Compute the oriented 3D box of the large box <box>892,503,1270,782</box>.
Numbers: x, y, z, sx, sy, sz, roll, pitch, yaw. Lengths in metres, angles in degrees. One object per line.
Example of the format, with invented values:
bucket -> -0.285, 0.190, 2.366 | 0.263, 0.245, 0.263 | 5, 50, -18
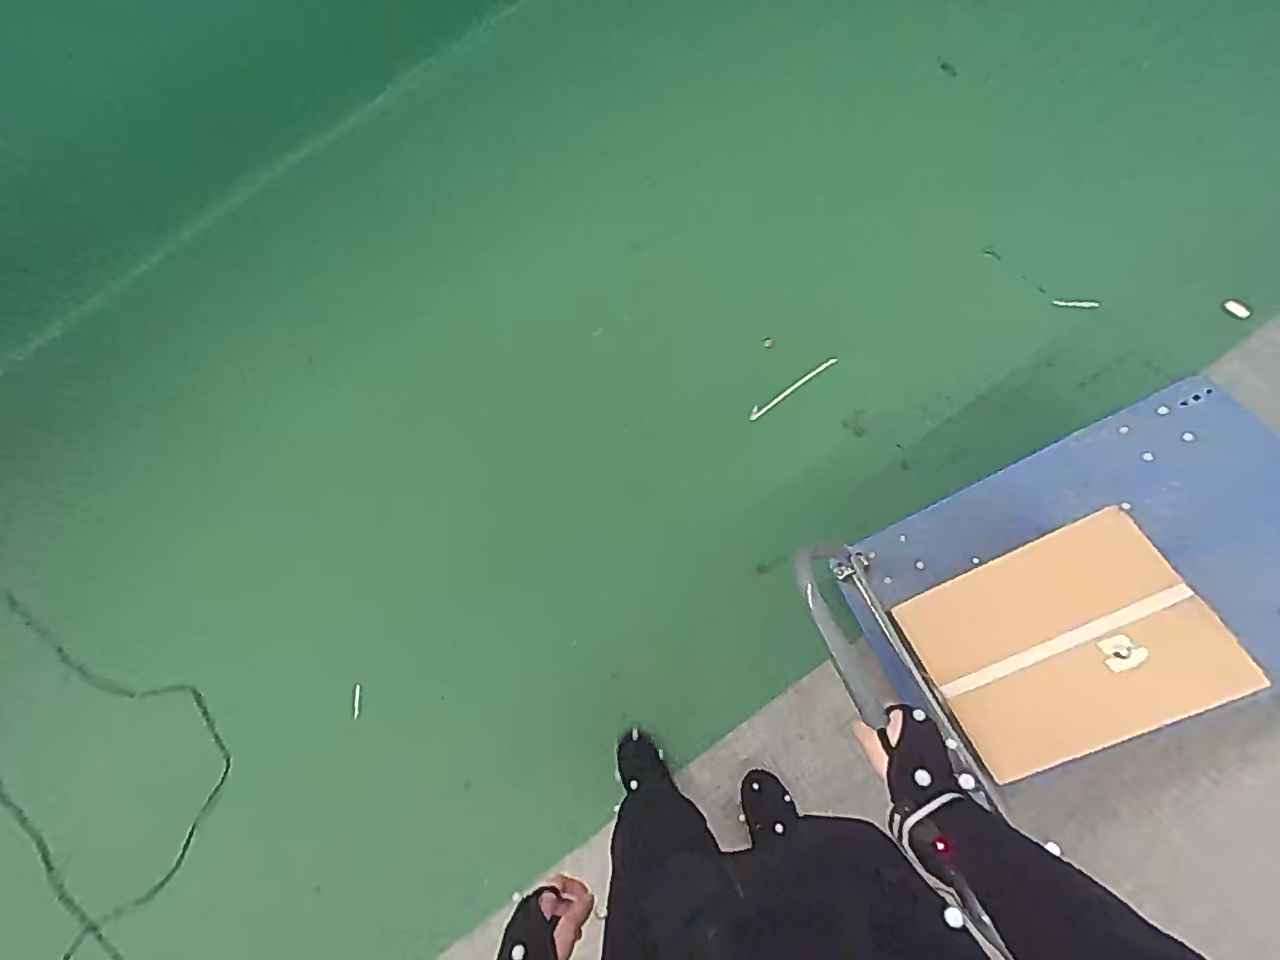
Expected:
large box -> 0.745, 0.299, 1.013 | 0.408, 0.320, 0.320 | -30, 67, 13
